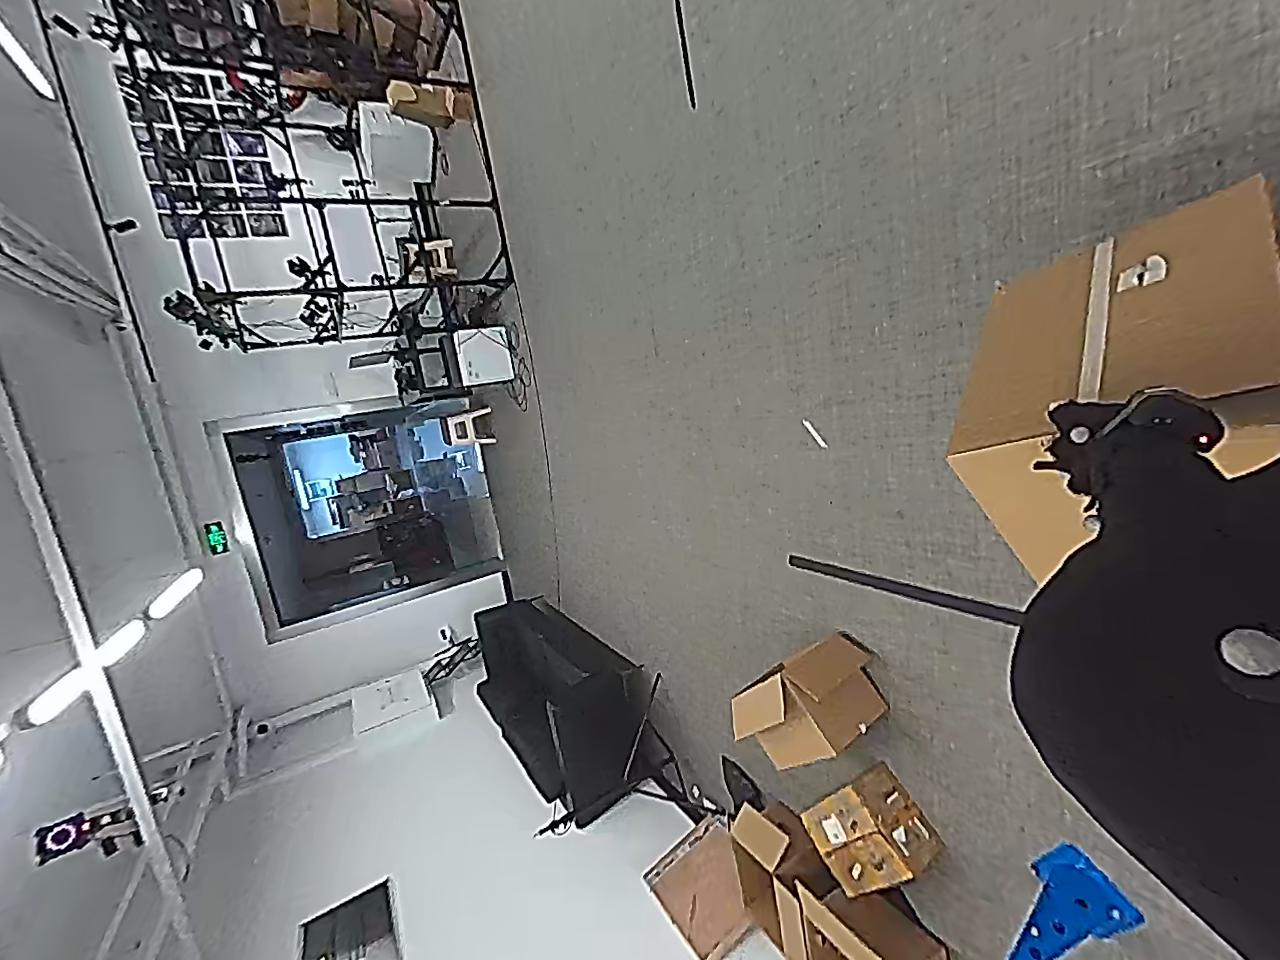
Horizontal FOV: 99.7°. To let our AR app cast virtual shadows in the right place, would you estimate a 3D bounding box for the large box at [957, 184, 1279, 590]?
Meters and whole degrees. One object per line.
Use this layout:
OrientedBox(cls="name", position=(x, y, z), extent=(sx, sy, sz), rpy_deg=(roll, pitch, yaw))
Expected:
OrientedBox(cls="large box", position=(0.701, -0.101, 0.742), extent=(0.320, 0.408, 0.320), rpy_deg=(46, 149, -19))
